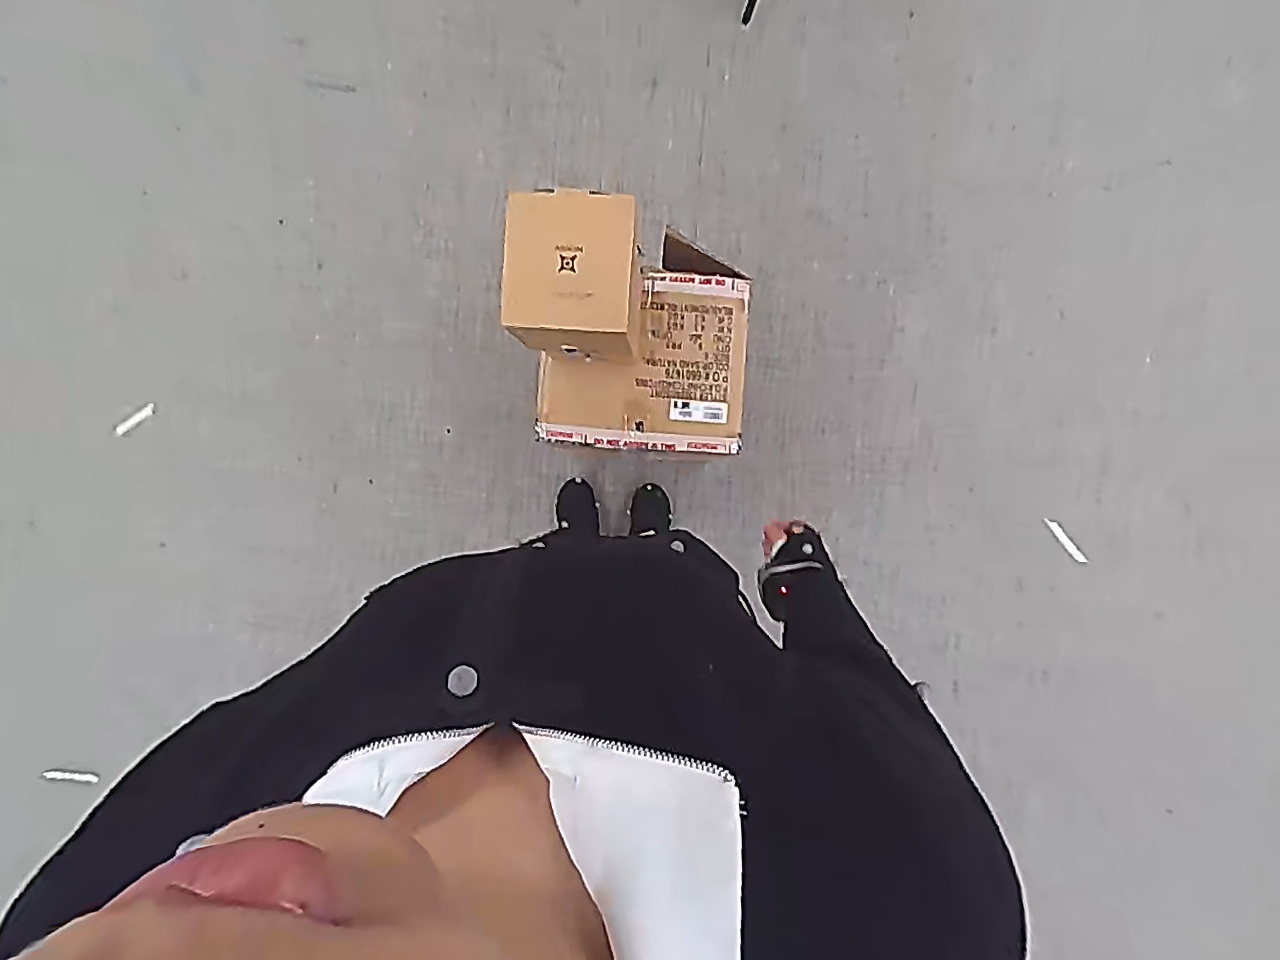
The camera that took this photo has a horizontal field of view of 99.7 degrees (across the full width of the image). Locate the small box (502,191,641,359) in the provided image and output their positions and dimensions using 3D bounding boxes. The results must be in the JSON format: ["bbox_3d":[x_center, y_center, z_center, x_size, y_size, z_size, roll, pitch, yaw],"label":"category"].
[{"bbox_3d":[-0.088,-0.279,0.765,0.168,0.176,0.179,3,93,3],"label":"small box"}]
